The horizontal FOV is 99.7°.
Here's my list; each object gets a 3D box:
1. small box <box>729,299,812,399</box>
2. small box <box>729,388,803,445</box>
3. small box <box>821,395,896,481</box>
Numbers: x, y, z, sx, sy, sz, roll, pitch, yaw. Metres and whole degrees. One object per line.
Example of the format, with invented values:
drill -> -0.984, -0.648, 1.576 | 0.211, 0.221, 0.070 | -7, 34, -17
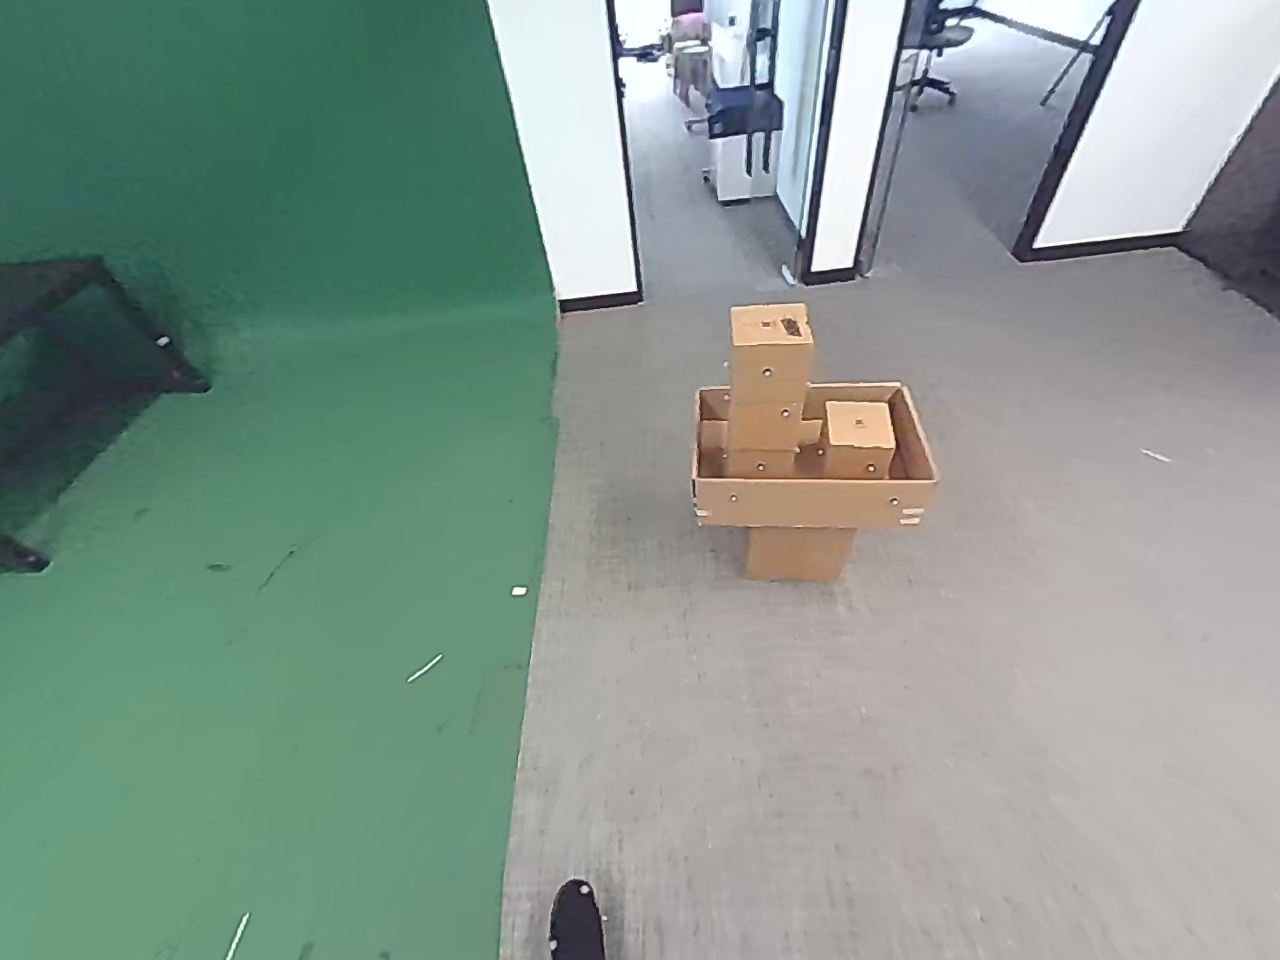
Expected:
small box -> 0.303, -0.310, 1.293 | 0.179, 0.176, 0.168 | -1, 49, 8
small box -> 0.324, -0.205, 1.418 | 0.179, 0.176, 0.168 | 1, 49, 9
small box -> 0.604, -0.115, 1.510 | 0.168, 0.176, 0.179 | 4, 50, 11
